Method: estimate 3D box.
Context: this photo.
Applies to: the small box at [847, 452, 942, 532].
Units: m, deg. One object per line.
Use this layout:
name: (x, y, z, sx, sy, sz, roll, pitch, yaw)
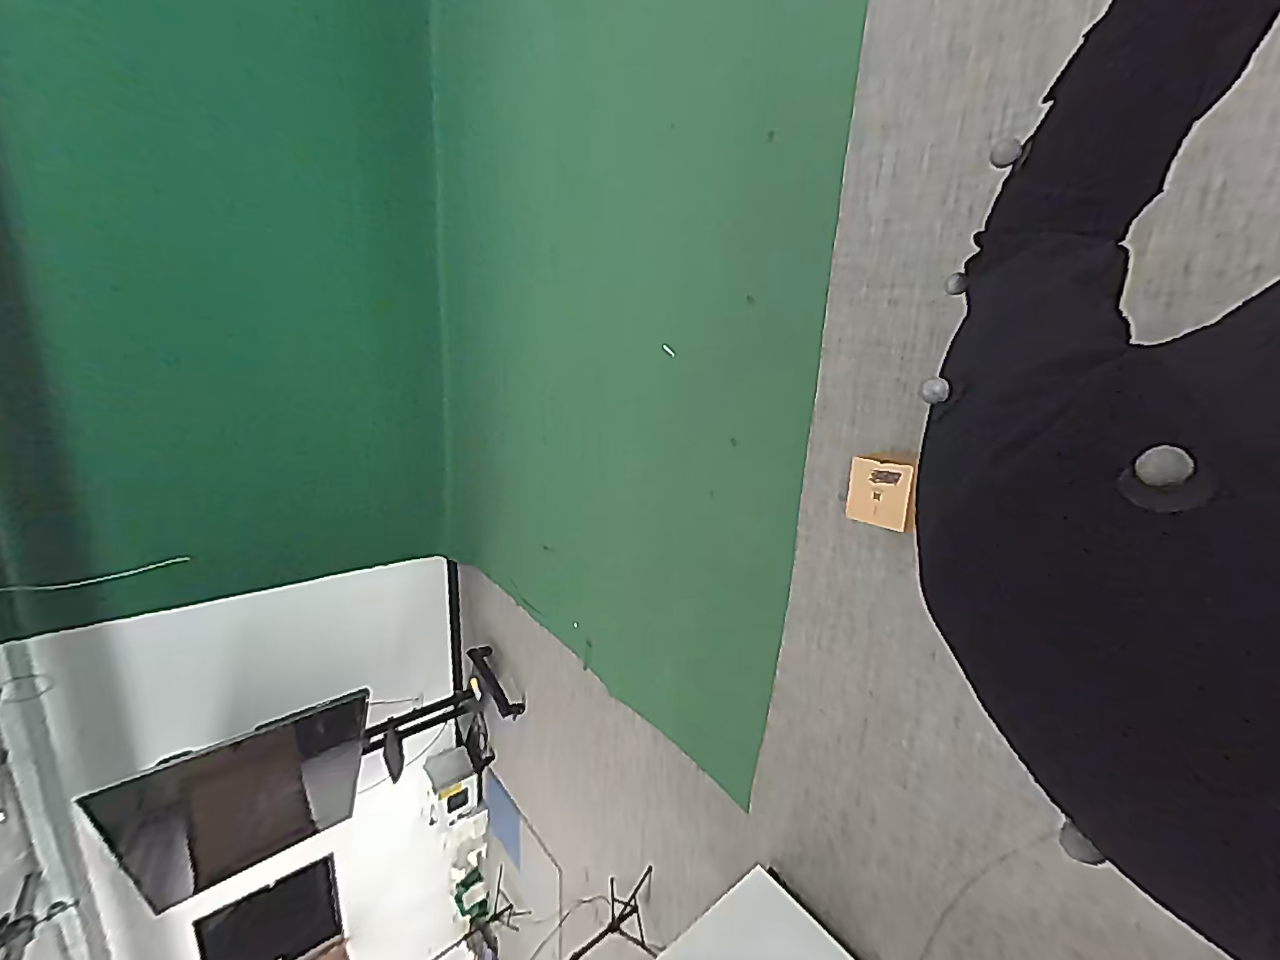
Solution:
small box: (0.688, 0.024, 1.456, 0.168, 0.176, 0.179, 18, 111, 49)
